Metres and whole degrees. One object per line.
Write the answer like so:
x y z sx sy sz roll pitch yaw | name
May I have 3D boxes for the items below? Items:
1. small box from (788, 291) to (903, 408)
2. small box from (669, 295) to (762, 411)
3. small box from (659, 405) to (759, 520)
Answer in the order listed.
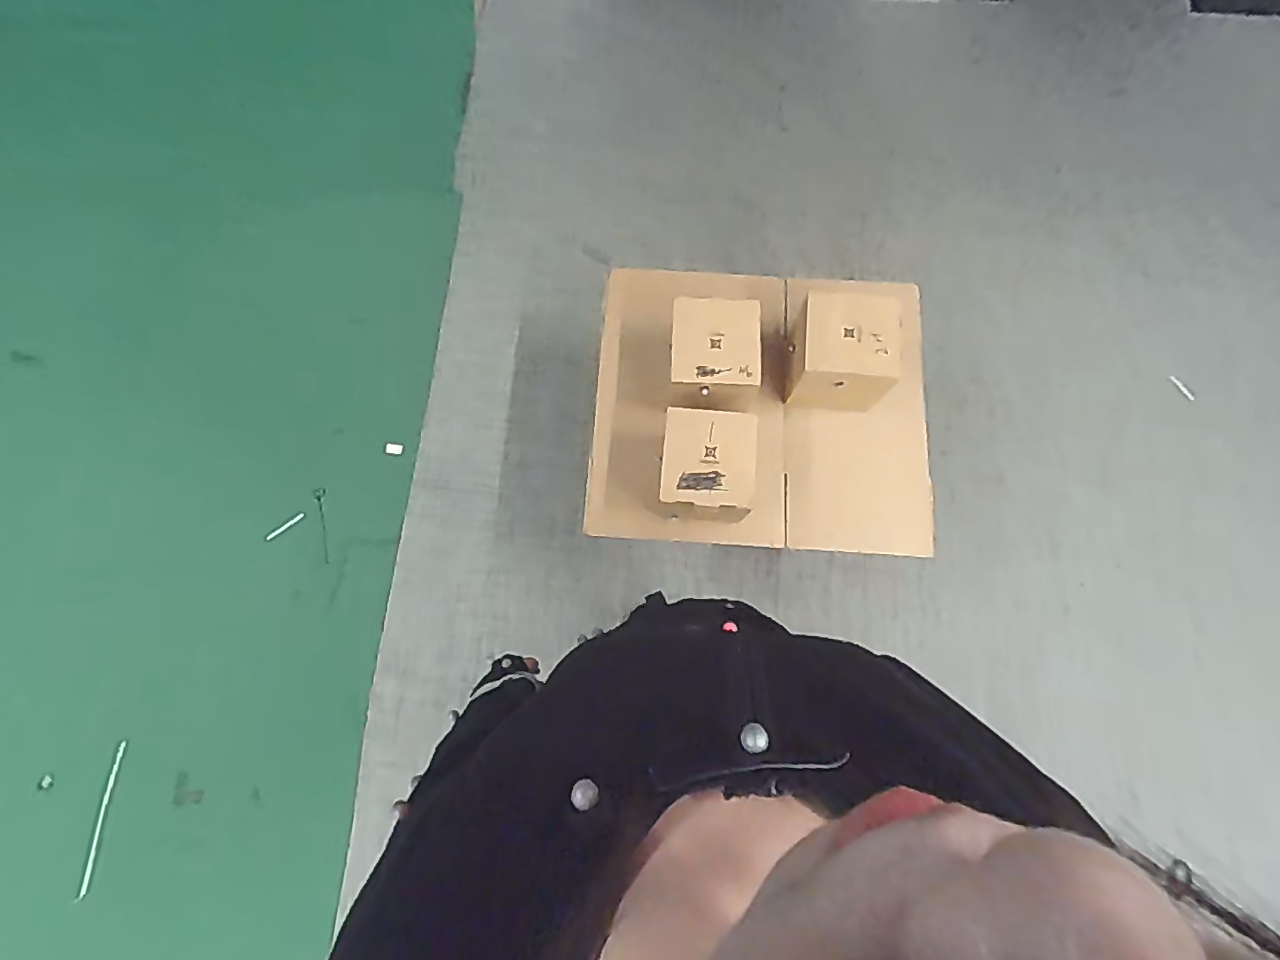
0.397 -0.251 1.070 0.179 0.176 0.168 6 77 4 | small box
0.144 -0.241 1.070 0.168 0.176 0.179 2 76 3 | small box
0.125 -0.026 1.020 0.168 0.176 0.179 5 76 2 | small box
